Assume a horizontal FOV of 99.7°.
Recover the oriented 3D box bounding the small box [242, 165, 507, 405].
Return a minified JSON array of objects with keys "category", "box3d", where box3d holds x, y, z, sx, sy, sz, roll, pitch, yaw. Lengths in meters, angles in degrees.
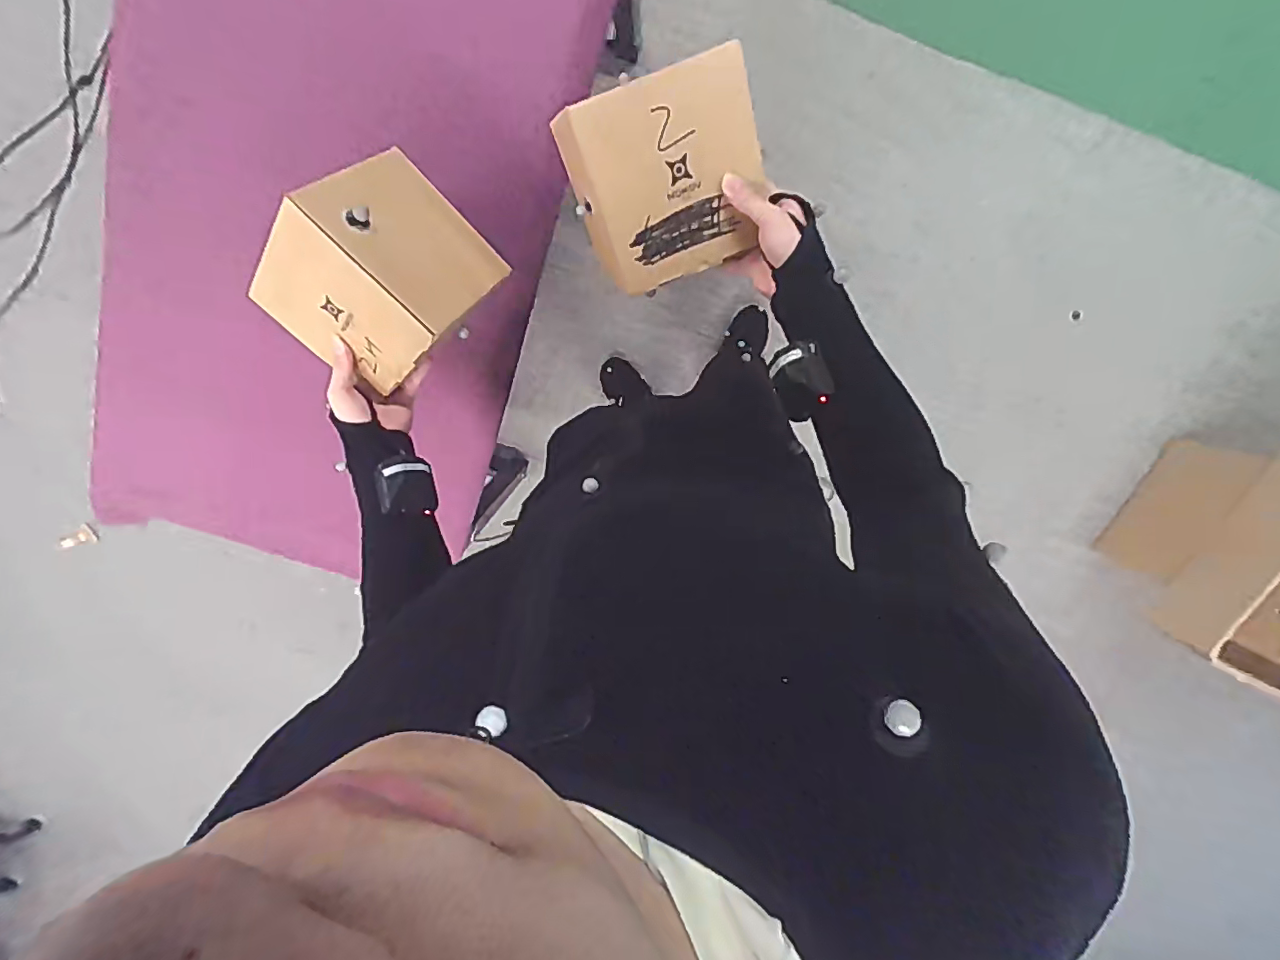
[{"category":"small box","box3d":[-0.291,-0.224,0.614,0.168,0.176,0.179,-24,118,39]}]
